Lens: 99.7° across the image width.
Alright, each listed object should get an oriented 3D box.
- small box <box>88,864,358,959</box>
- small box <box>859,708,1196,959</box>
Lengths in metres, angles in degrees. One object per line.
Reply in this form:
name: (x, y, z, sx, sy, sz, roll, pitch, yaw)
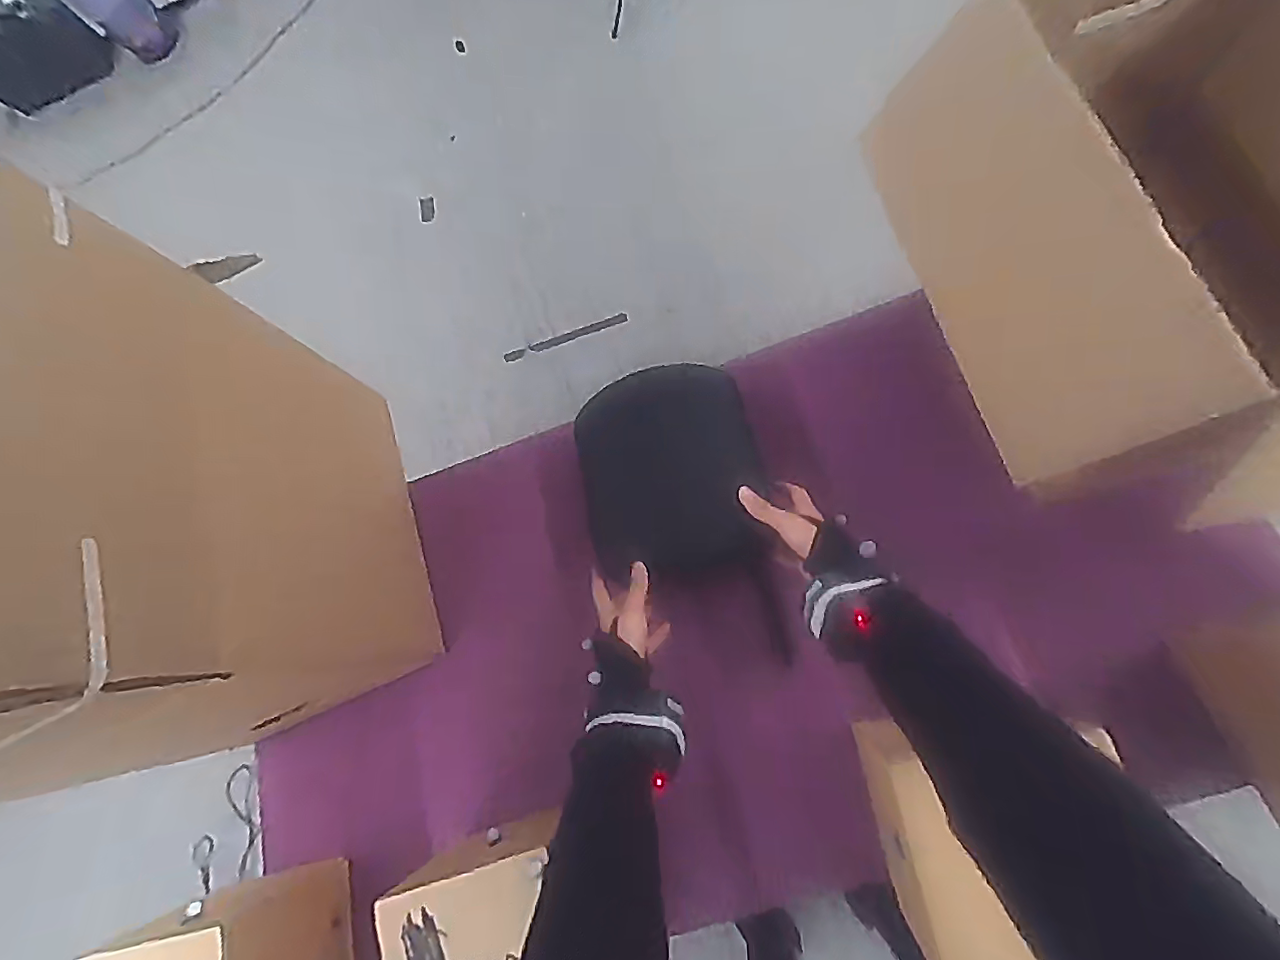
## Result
small box: (-0.434, 0.546, 0.574, 0.179, 0.176, 0.168, -17, 72, 6)
small box: (0.307, 0.308, 0.474, 0.168, 0.176, 0.179, -13, 74, 9)
